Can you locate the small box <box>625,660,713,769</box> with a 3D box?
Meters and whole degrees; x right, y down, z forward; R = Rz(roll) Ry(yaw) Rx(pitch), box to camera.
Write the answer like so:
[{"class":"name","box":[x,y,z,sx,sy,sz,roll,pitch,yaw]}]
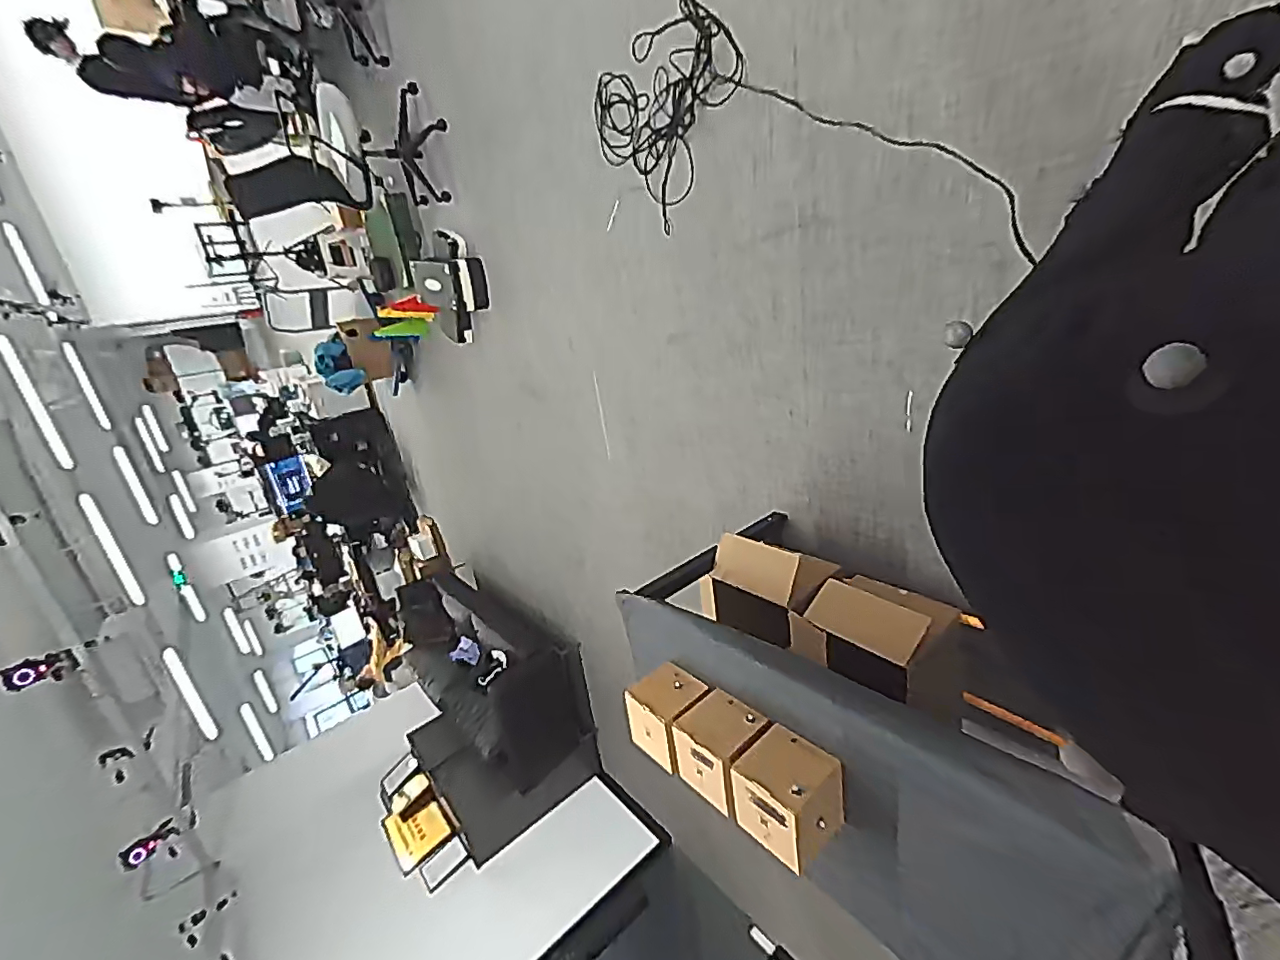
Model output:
[{"class":"small box","box":[0.085,0.630,1.474,0.168,0.176,0.179,16,121,48]}]
